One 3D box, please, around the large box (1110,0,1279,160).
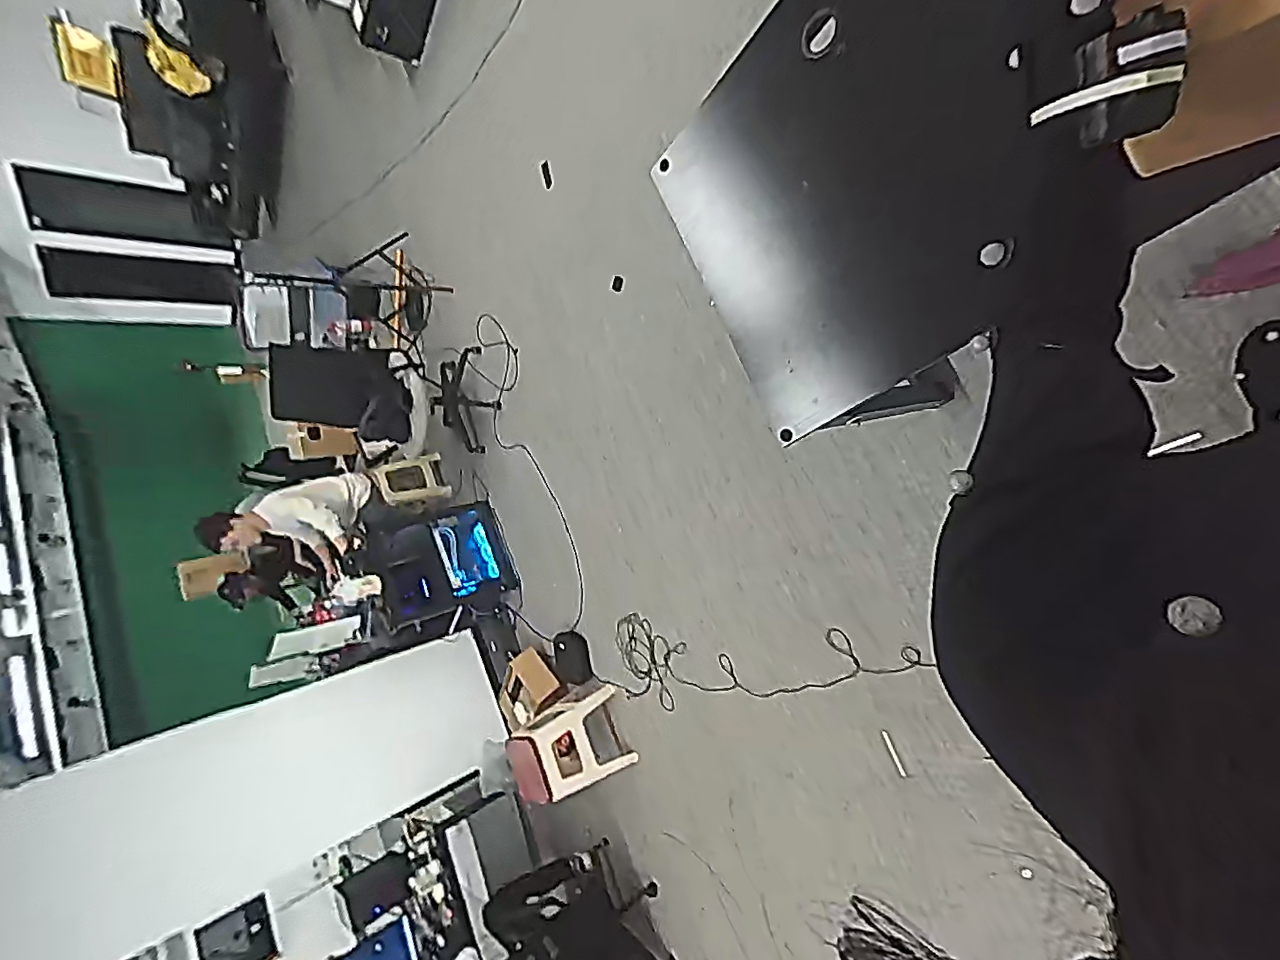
[{"bbox_3d":[0.532,-0.461,0.306,0.408,0.320,0.320,-4,98,47],"label":"large box"}]
